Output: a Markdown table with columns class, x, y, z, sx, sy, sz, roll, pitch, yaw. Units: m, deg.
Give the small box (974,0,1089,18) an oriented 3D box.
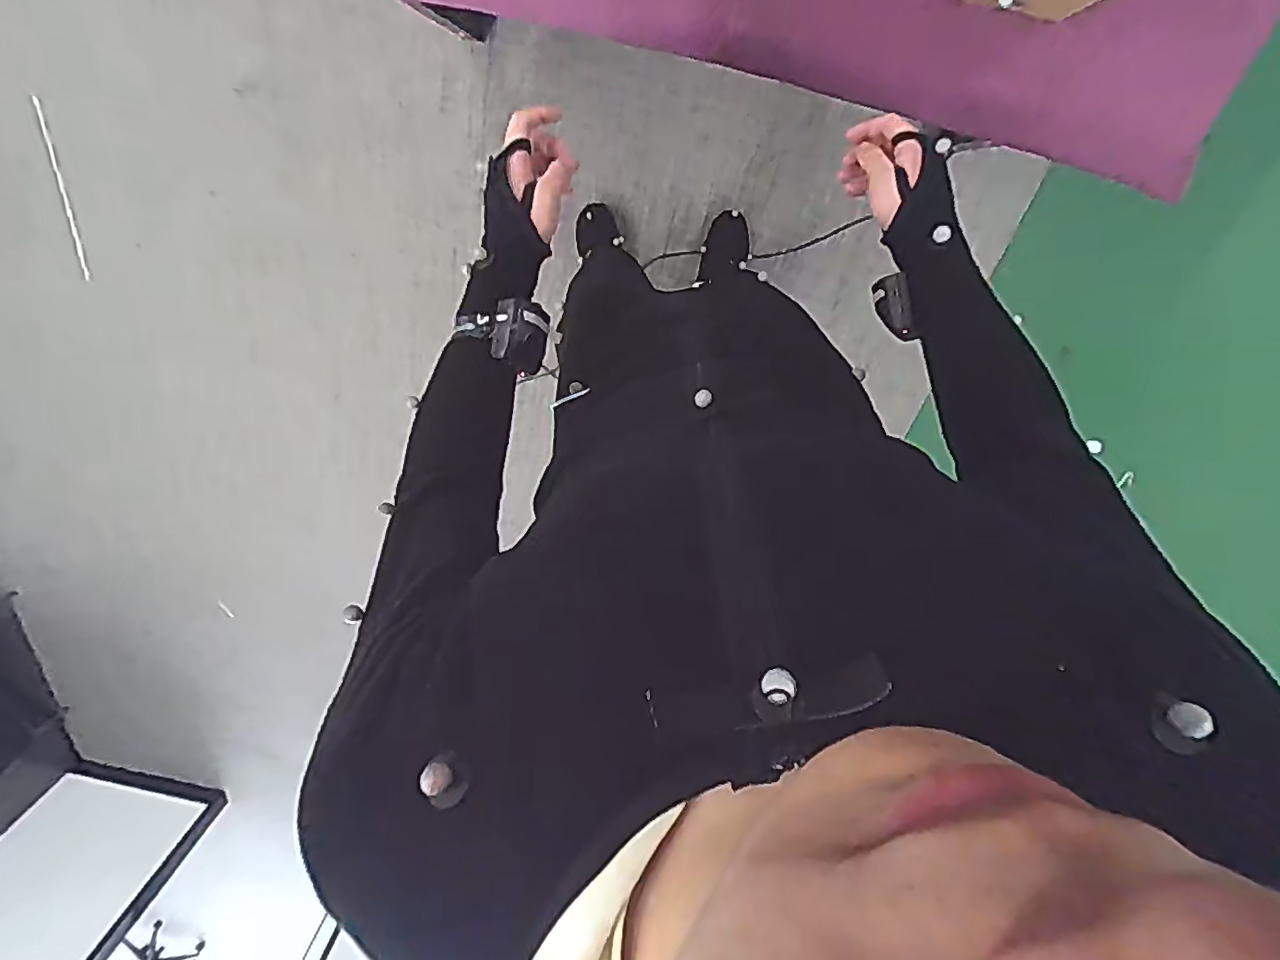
| class | x | y | z | sx | sy | sz | roll | pitch | yaw |
| --- | --- | --- | --- | --- | --- | --- | --- | --- | --- |
| small box | 0.392 | -0.566 | 0.487 | 0.168 | 0.176 | 0.179 | 14 | 119 | 0 |
